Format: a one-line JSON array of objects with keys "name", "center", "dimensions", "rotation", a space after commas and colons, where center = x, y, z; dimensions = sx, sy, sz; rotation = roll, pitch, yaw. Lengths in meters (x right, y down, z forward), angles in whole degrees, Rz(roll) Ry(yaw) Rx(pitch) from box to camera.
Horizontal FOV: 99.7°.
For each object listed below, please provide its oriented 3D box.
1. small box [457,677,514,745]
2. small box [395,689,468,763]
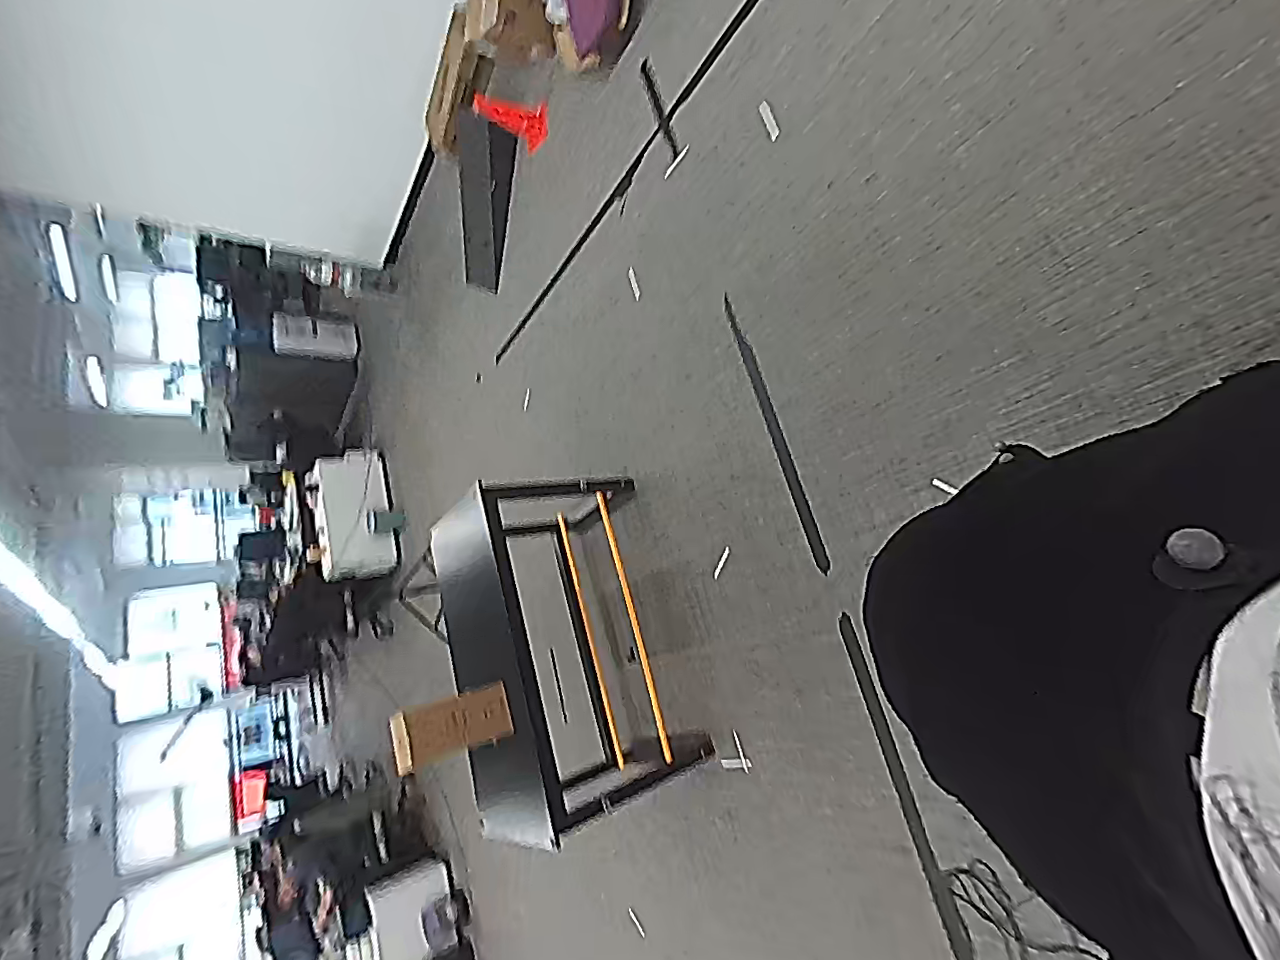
[{"name": "small box", "center": [-0.546, 0.790, 1.856], "dimensions": [0.179, 0.176, 0.168], "rotation": [-39, 63, 44]}, {"name": "small box", "center": [-0.677, 0.797, 1.754], "dimensions": [0.179, 0.176, 0.168], "rotation": [-41, 62, 44]}]
